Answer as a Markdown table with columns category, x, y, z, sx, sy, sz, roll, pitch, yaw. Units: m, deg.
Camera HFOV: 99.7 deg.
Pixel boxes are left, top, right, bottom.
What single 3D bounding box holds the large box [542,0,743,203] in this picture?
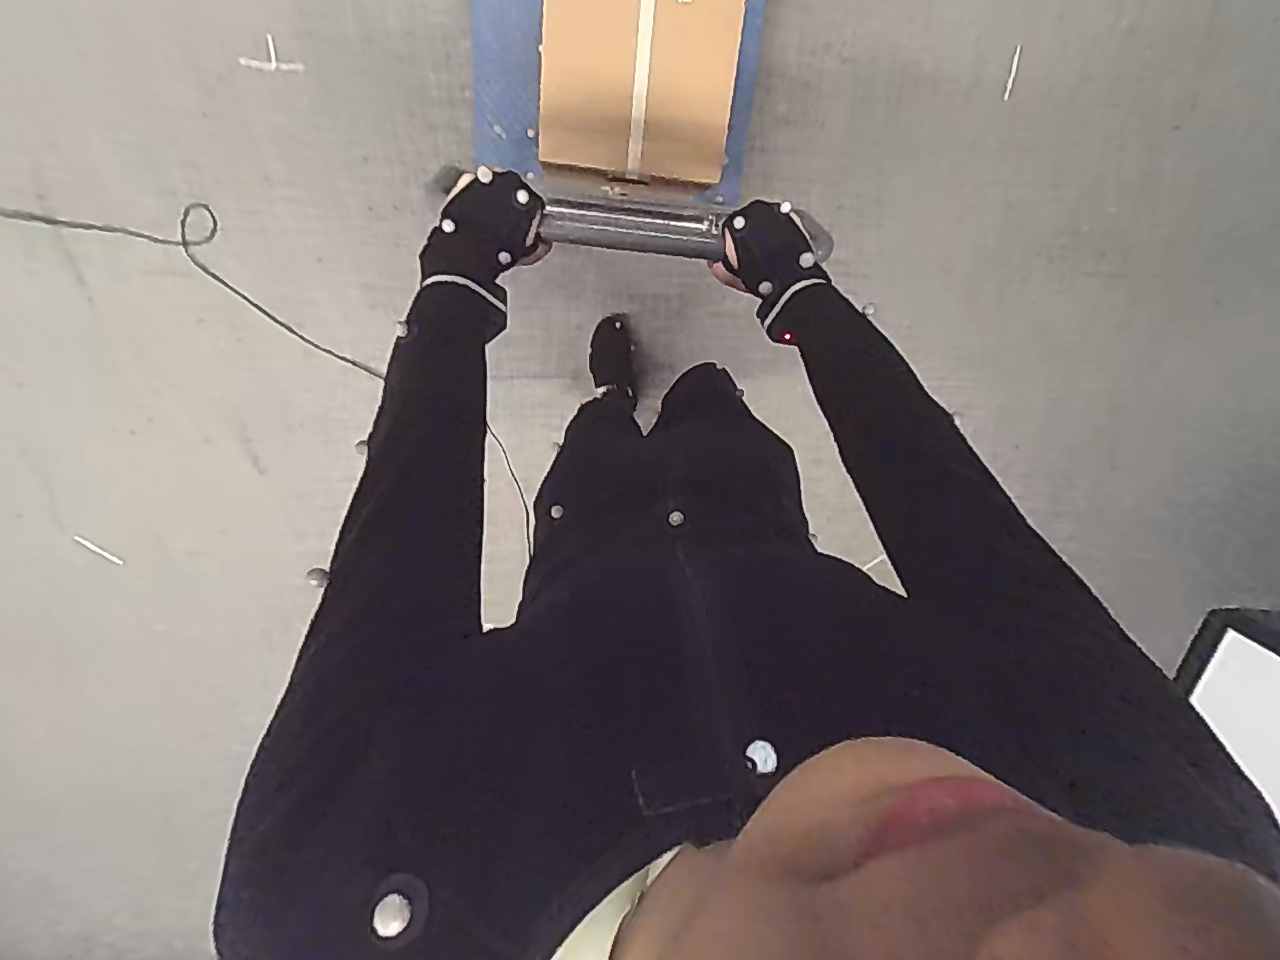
| category | x | y | z | sx | sy | sz | roll | pitch | yaw |
| --- | --- | --- | --- | --- | --- | --- | --- | --- | --- |
| large box | -0.009 | -0.759 | 0.991 | 0.320 | 0.320 | 0.408 | 3 | 111 | -8 |
